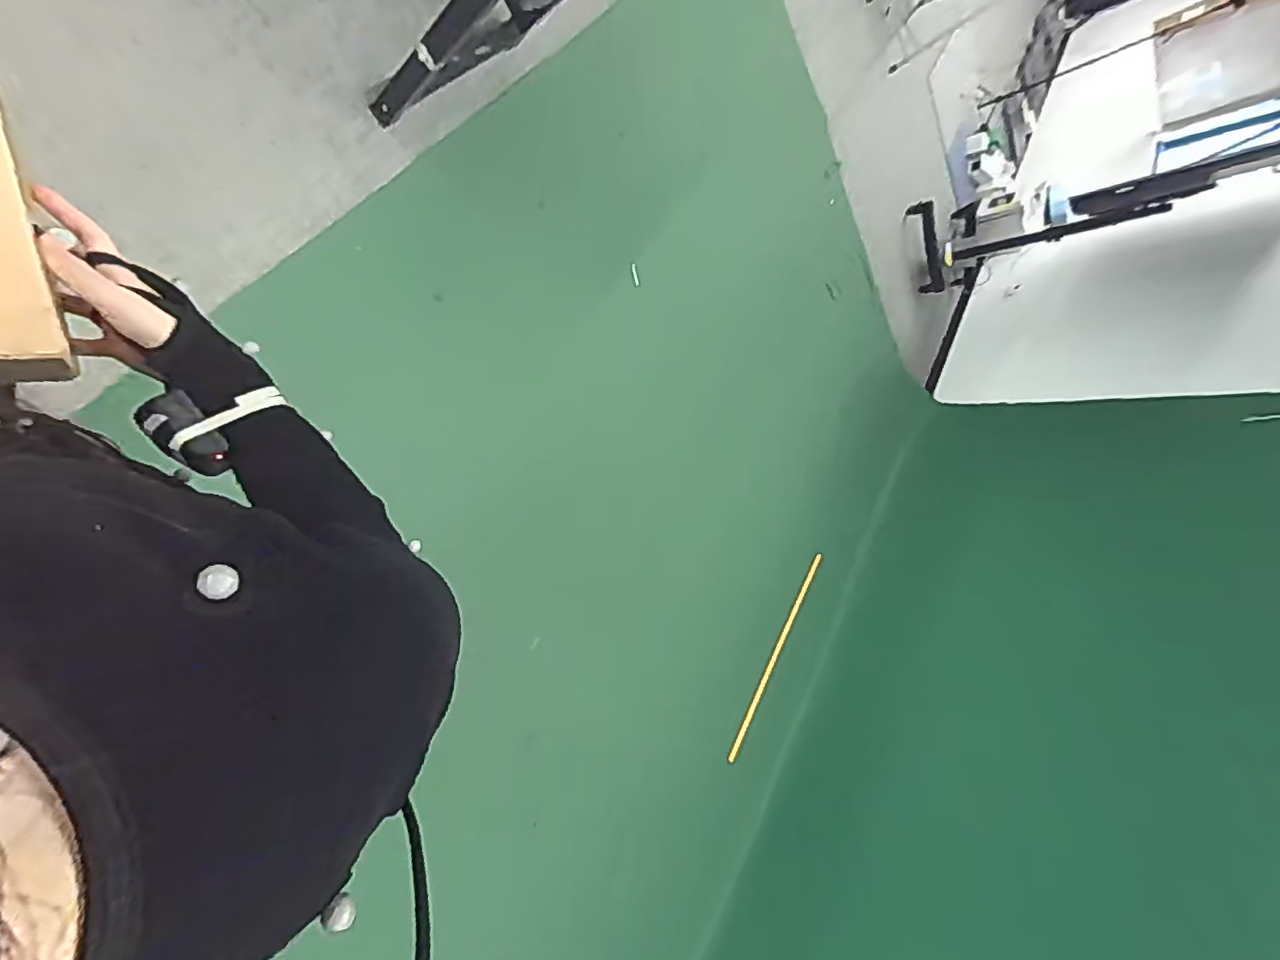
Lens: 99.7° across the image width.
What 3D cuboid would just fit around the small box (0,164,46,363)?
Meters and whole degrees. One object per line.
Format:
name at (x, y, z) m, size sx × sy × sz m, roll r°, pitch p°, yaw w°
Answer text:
small box at (-0.473, -0.160, 0.301) m, size 0.168 × 0.176 × 0.179 m, roll -15°, pitch 105°, yaw -44°
